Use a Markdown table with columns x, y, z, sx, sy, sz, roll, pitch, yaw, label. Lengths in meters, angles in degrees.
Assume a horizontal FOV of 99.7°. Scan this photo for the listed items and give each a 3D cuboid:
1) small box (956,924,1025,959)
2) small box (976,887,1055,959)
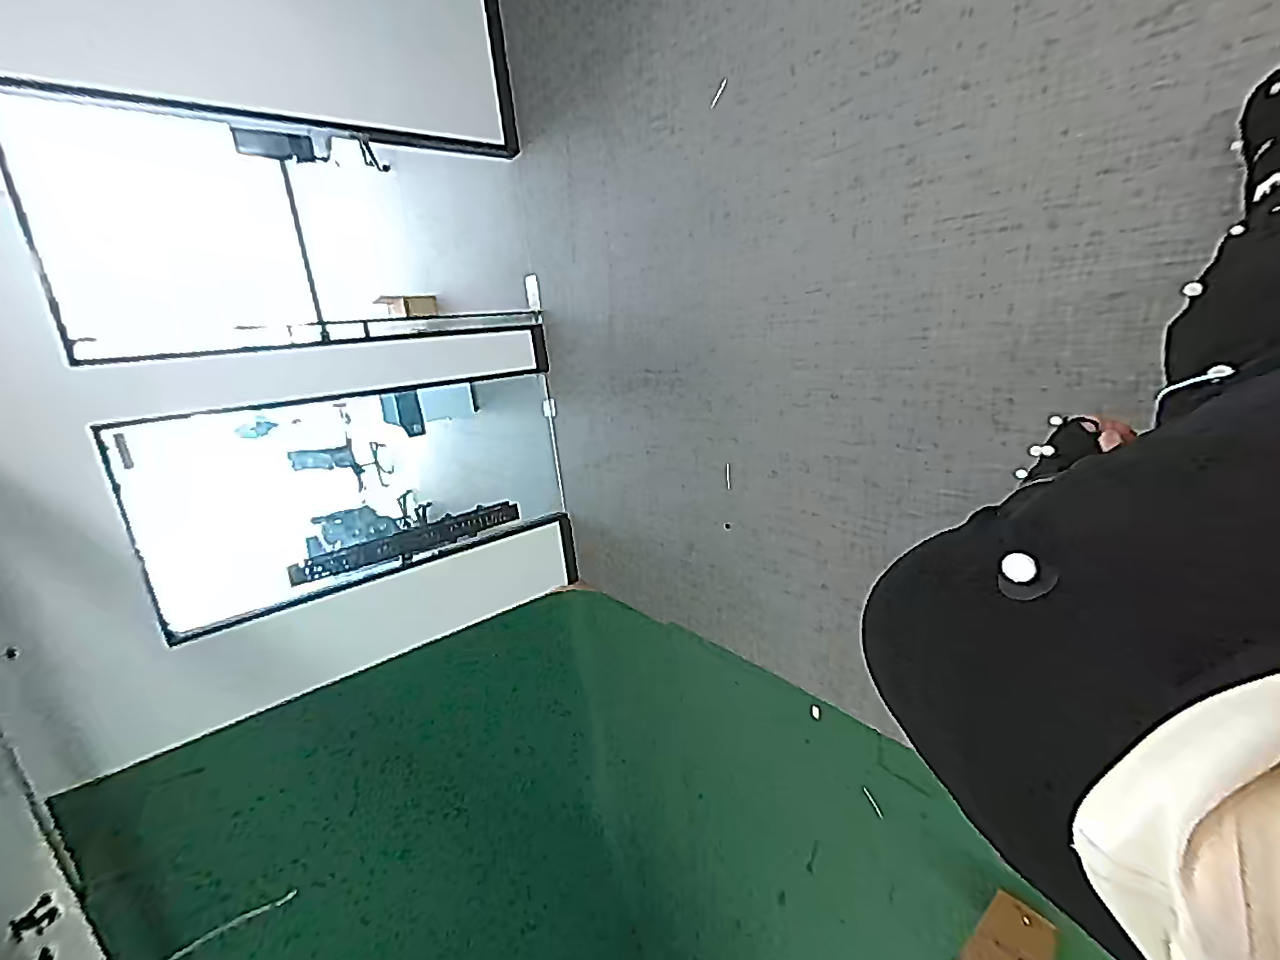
| x | y | z | sx | sy | sz | roll | pitch | yaw | label |
| --- | --- | --- | --- | --- | --- | --- | --- | --- | --- |
| 1.044 | 1.487 | 1.601 | 0.168 | 0.176 | 0.179 | 18 | 118 | 50 | small box |
| 1.173 | 1.449 | 1.697 | 0.168 | 0.176 | 0.179 | 16 | 116 | 50 | small box |
